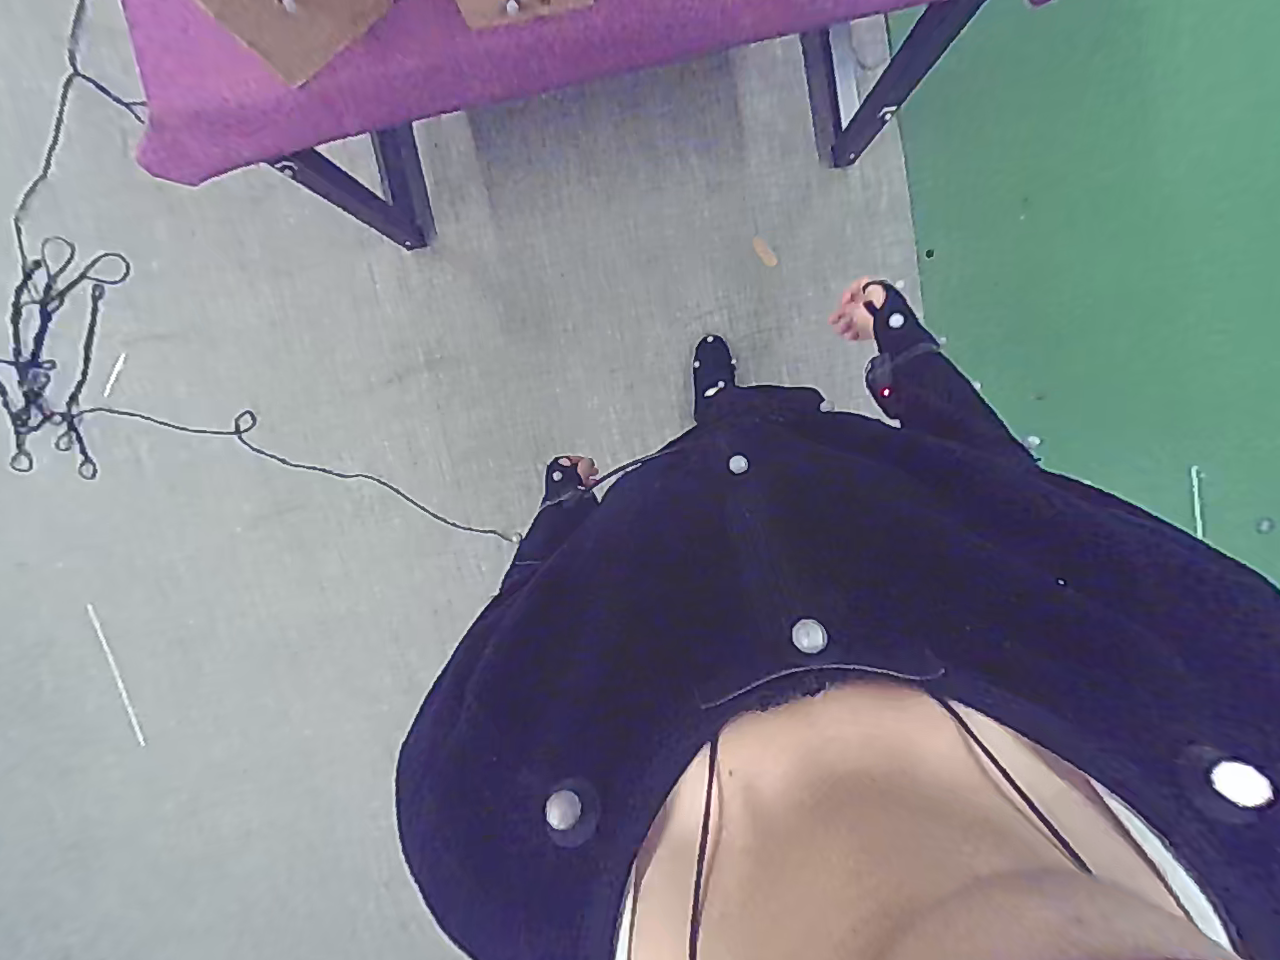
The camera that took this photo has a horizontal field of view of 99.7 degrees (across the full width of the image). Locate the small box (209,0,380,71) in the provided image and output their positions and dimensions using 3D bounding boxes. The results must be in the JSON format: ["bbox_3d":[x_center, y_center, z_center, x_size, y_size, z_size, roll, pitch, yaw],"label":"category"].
[{"bbox_3d":[-0.433,-0.625,0.610,0.179,0.176,0.168,-35,95,6],"label":"small box"}]

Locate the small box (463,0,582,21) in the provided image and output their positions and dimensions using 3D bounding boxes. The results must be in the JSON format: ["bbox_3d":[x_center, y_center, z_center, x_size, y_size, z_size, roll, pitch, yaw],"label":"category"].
[{"bbox_3d":[-0.156,-0.670,0.597,0.168,0.176,0.179,-9,97,4],"label":"small box"}]
